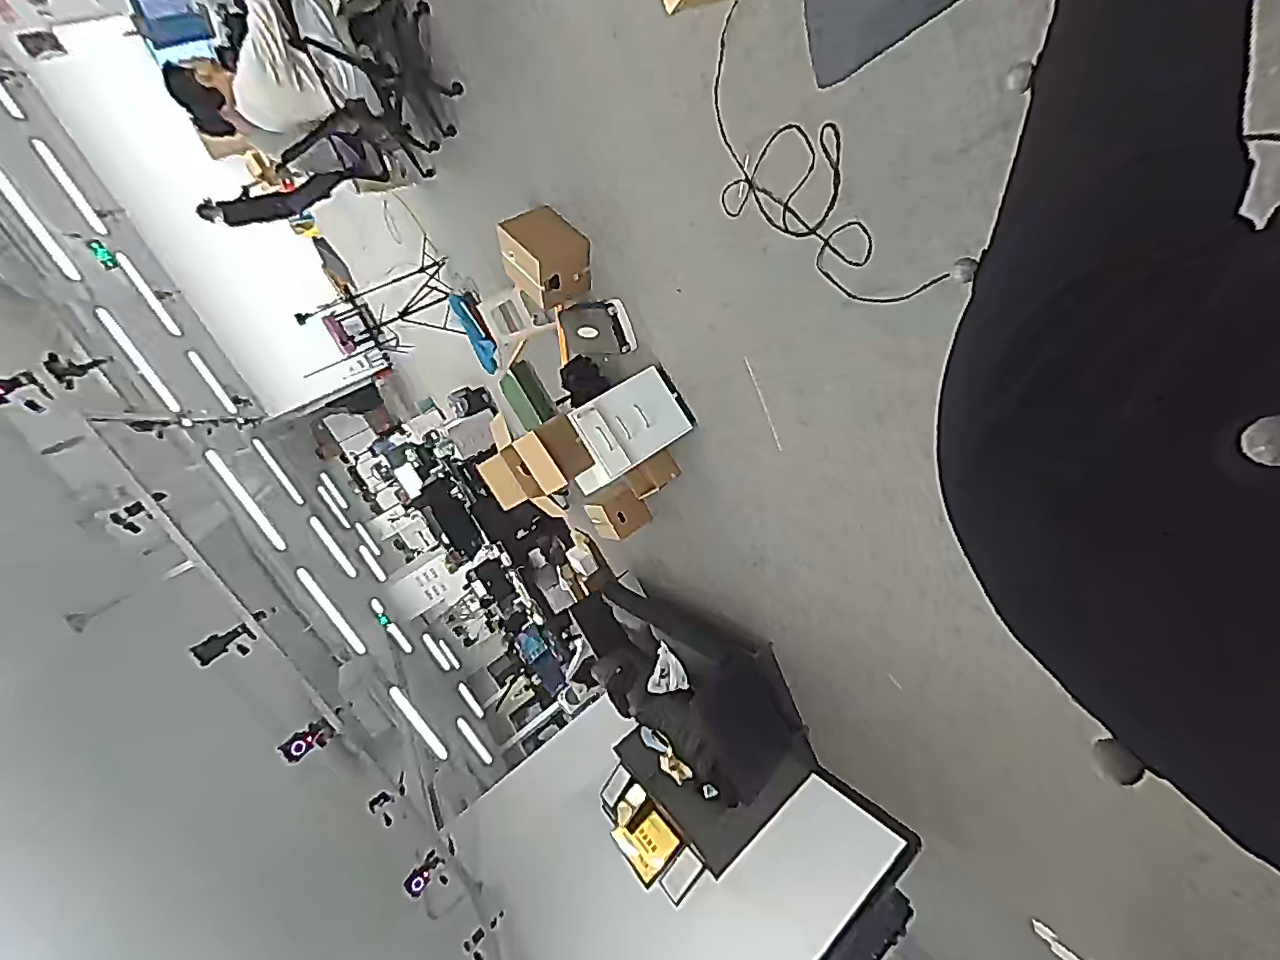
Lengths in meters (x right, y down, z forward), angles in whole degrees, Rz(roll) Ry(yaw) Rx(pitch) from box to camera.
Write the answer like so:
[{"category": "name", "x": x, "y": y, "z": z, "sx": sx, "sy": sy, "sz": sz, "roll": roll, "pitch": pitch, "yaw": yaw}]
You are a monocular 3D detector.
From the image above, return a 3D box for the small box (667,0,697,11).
[{"category": "small box", "x": 0.100, "y": -0.532, "z": 0.430, "sx": 0.179, "sy": 0.176, "sz": 0.168, "roll": 7, "pitch": 127, "yaw": 61}]
